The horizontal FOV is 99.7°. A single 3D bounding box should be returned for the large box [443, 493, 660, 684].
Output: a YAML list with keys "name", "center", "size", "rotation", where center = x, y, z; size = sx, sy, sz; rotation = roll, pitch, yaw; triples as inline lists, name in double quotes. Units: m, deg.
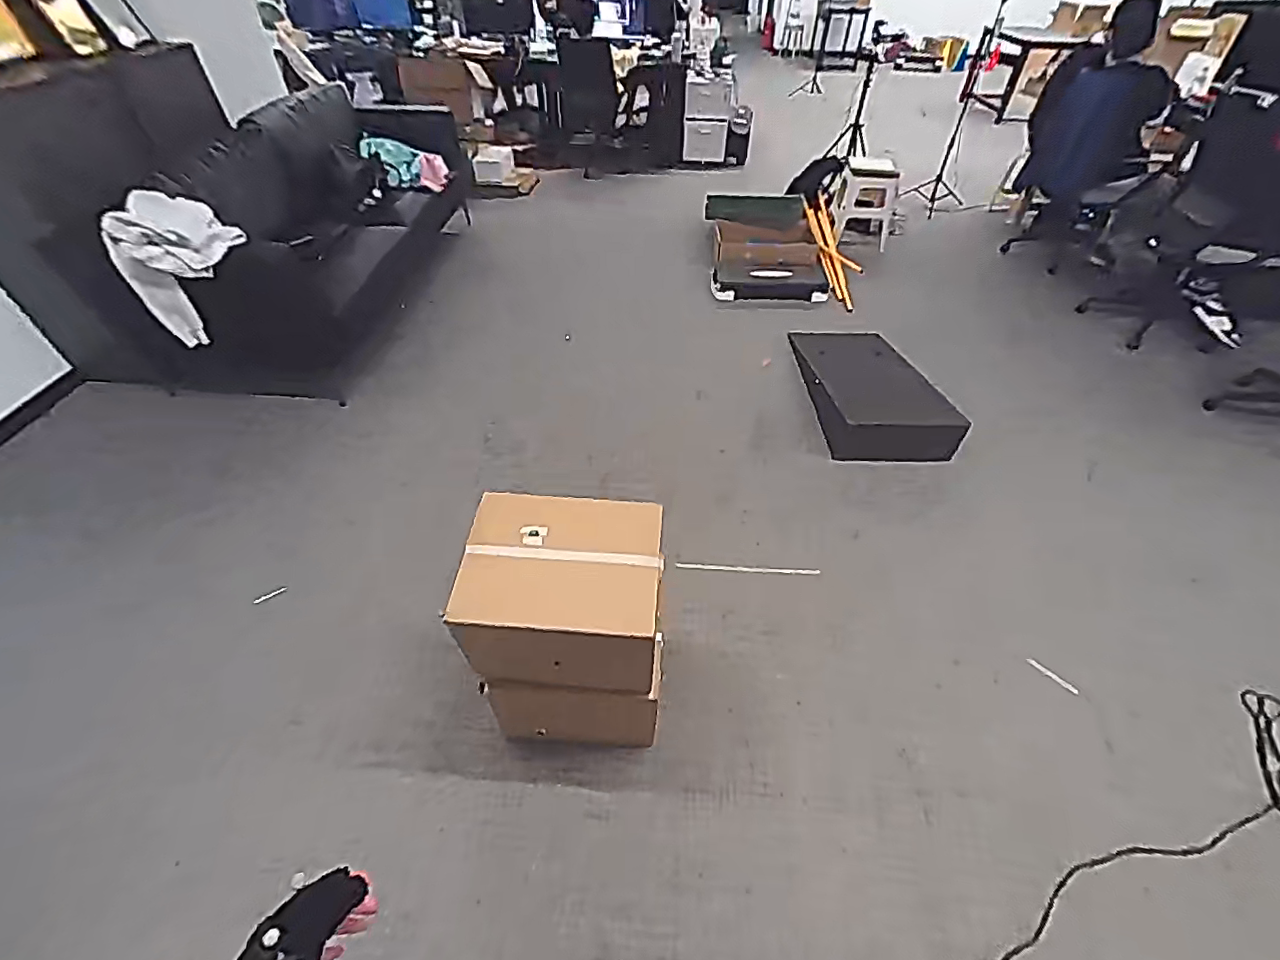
- name: "large box"
  center: [-0.160, 0.249, 1.210]
  size: [0.408, 0.320, 0.320]
  rotation: [3, 51, 3]
